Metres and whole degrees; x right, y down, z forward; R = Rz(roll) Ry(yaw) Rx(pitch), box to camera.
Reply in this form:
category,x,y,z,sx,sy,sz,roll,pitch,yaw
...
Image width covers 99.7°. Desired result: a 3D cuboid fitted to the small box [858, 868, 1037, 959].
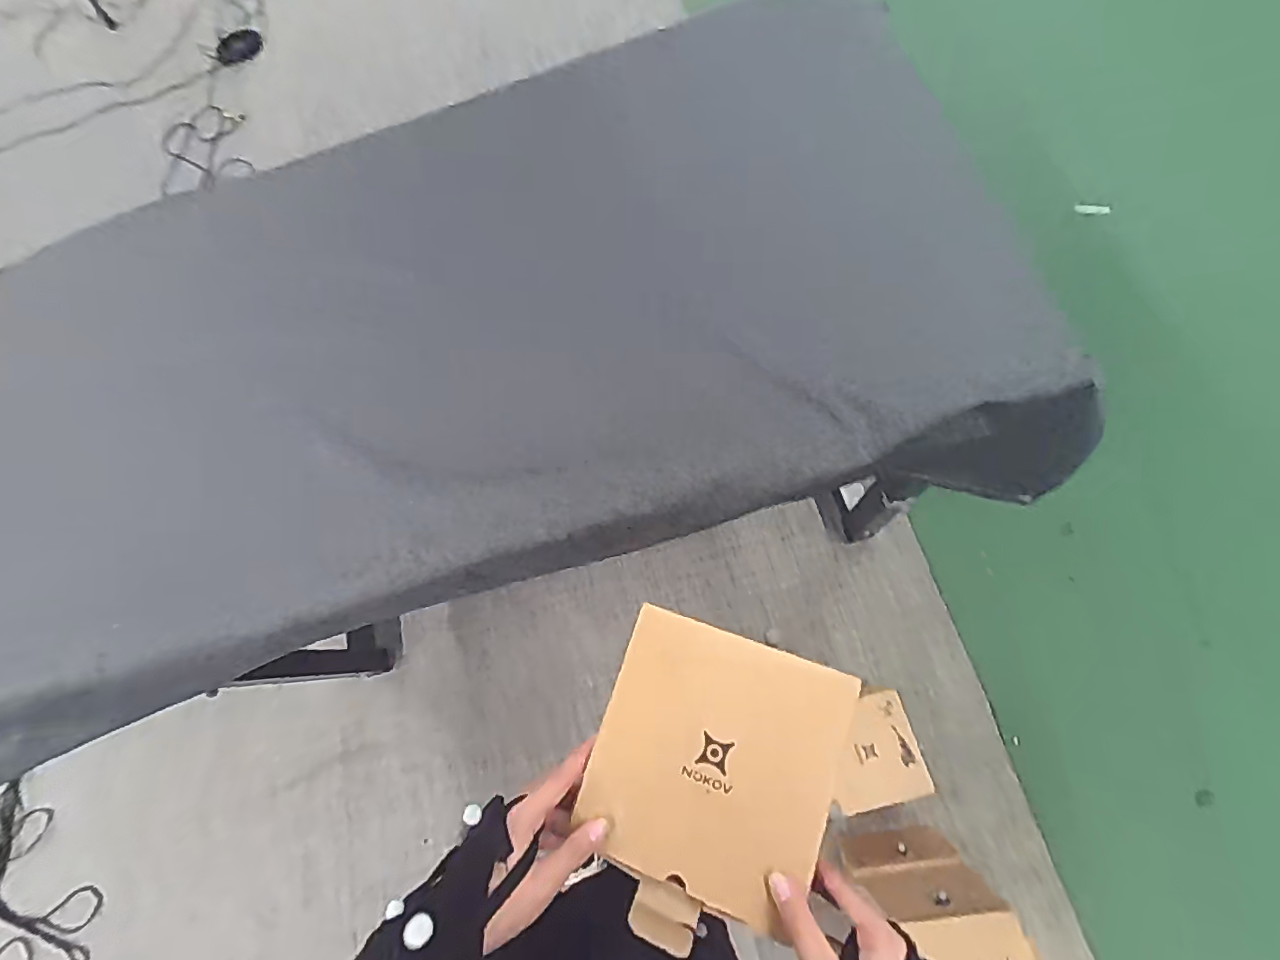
category,x,y,z,sx,sy,sz,roll,pitch,yaw
small box,0.423,0.661,0.739,0.179,0.176,0.168,-13,69,7

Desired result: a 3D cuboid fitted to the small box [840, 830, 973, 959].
category,x,y,z,sx,sy,sz,roll,pitch,yaw
small box,0.451,0.703,0.895,0.179,0.176,0.168,-13,70,7

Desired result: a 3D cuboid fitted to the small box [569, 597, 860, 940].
category,x,y,z,sx,sy,sz,roll,pitch,yaw
small box,0.063,0.211,0.453,0.168,0.176,0.179,16,78,13
